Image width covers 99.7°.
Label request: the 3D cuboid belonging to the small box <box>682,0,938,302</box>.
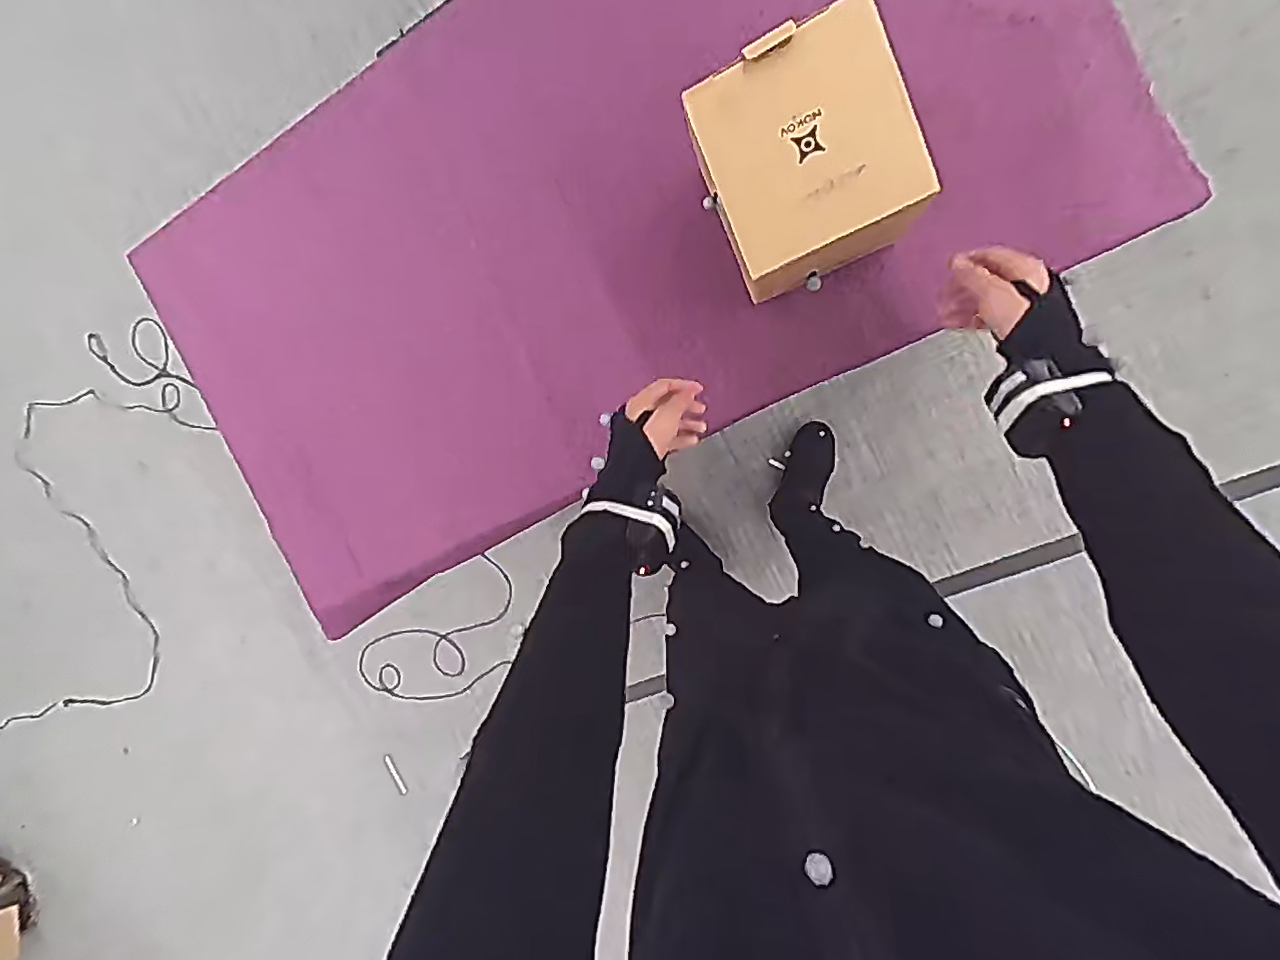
[{"bbox_3d":[0.155,-0.298,0.529,0.168,0.176,0.179,-21,94,16],"label":"small box"}]
